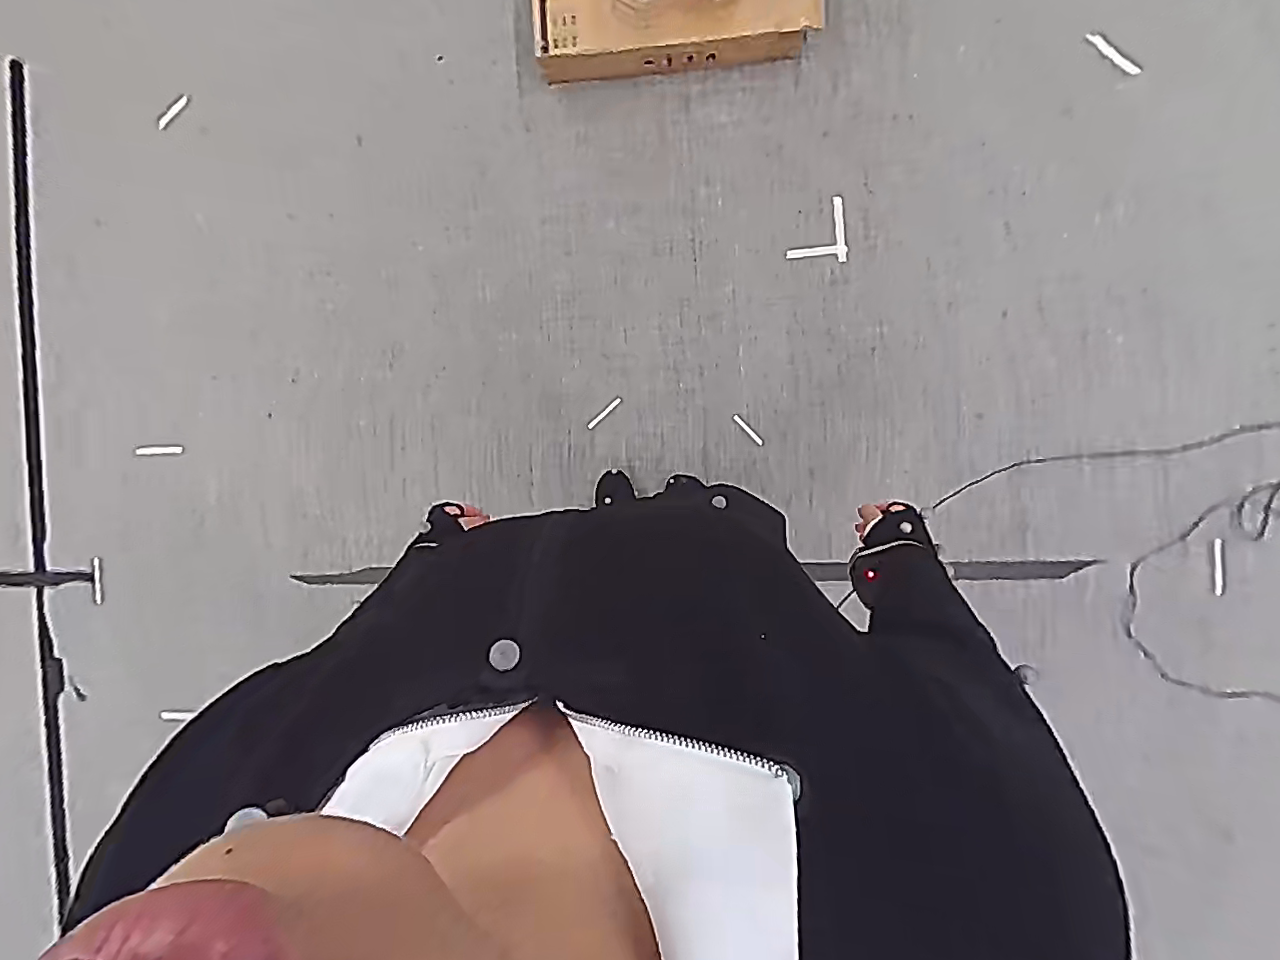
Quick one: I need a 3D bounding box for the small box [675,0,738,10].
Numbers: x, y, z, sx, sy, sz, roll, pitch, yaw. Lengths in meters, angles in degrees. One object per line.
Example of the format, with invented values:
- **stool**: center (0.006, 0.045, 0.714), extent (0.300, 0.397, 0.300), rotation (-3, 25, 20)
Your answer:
- **small box**: center (0.160, -1.283, 1.288), extent (0.168, 0.176, 0.179), rotation (-3, 90, 5)
